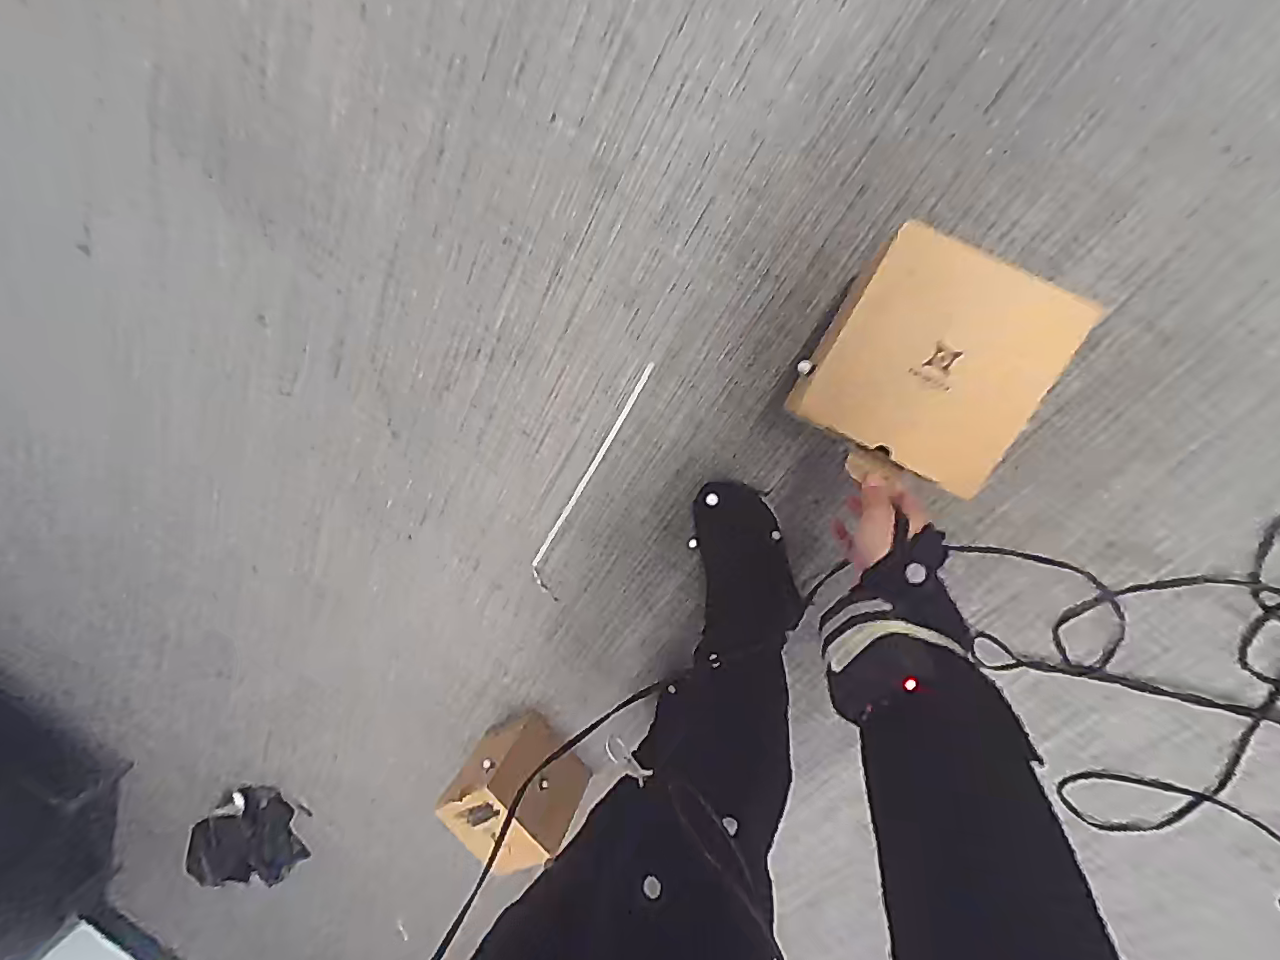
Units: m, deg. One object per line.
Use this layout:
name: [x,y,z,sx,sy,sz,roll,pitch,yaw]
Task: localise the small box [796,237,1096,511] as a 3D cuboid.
small box: [0.266,-0.097,0.527,0.168,0.176,0.179,29,103,6]
